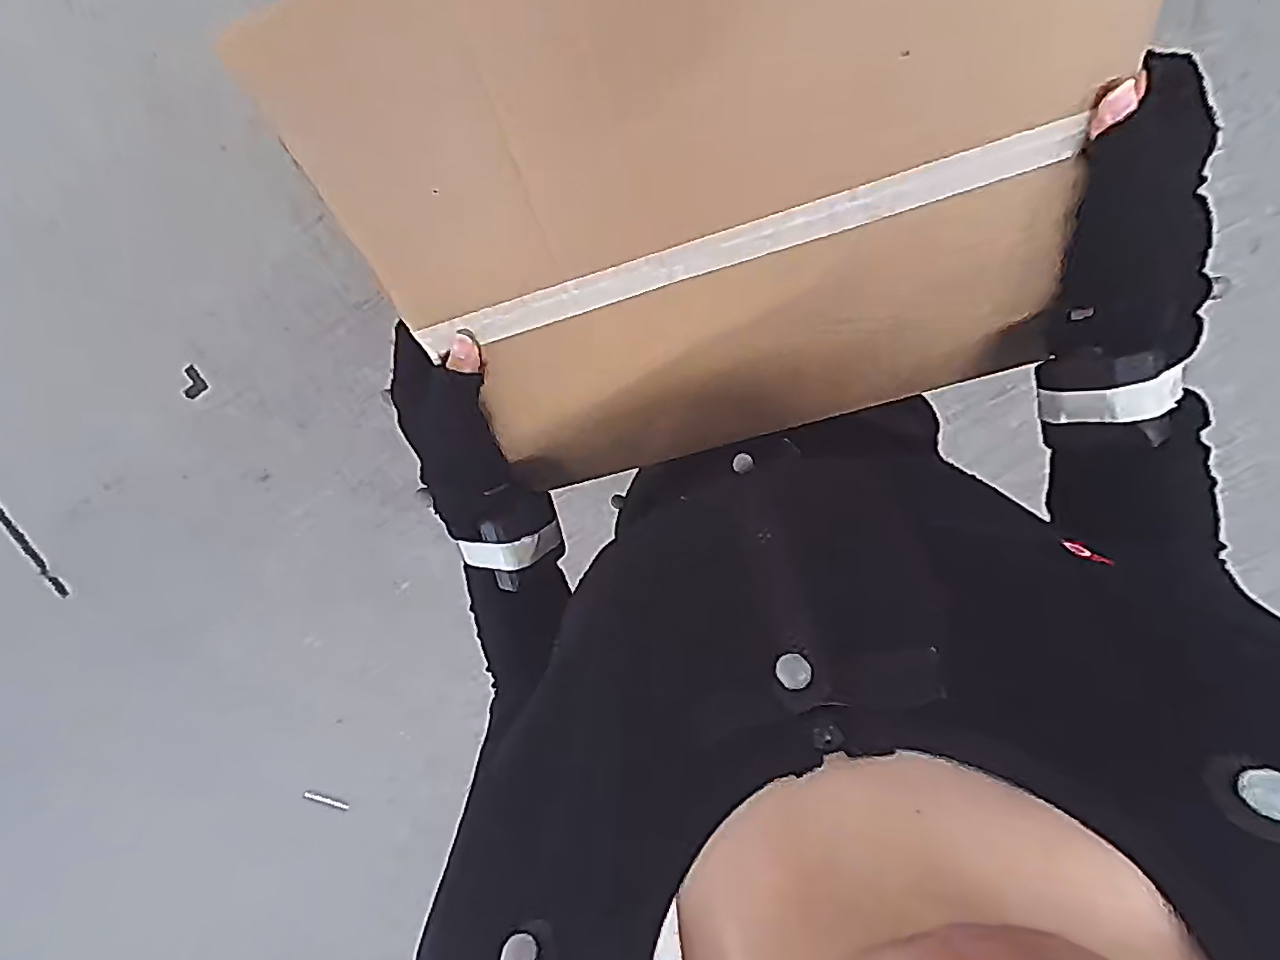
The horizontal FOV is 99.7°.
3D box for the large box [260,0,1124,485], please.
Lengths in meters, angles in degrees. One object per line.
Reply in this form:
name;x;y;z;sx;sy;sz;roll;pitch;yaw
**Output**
large box;0.041;-0.251;0.424;0.408;0.320;0.320;-15;136;9
